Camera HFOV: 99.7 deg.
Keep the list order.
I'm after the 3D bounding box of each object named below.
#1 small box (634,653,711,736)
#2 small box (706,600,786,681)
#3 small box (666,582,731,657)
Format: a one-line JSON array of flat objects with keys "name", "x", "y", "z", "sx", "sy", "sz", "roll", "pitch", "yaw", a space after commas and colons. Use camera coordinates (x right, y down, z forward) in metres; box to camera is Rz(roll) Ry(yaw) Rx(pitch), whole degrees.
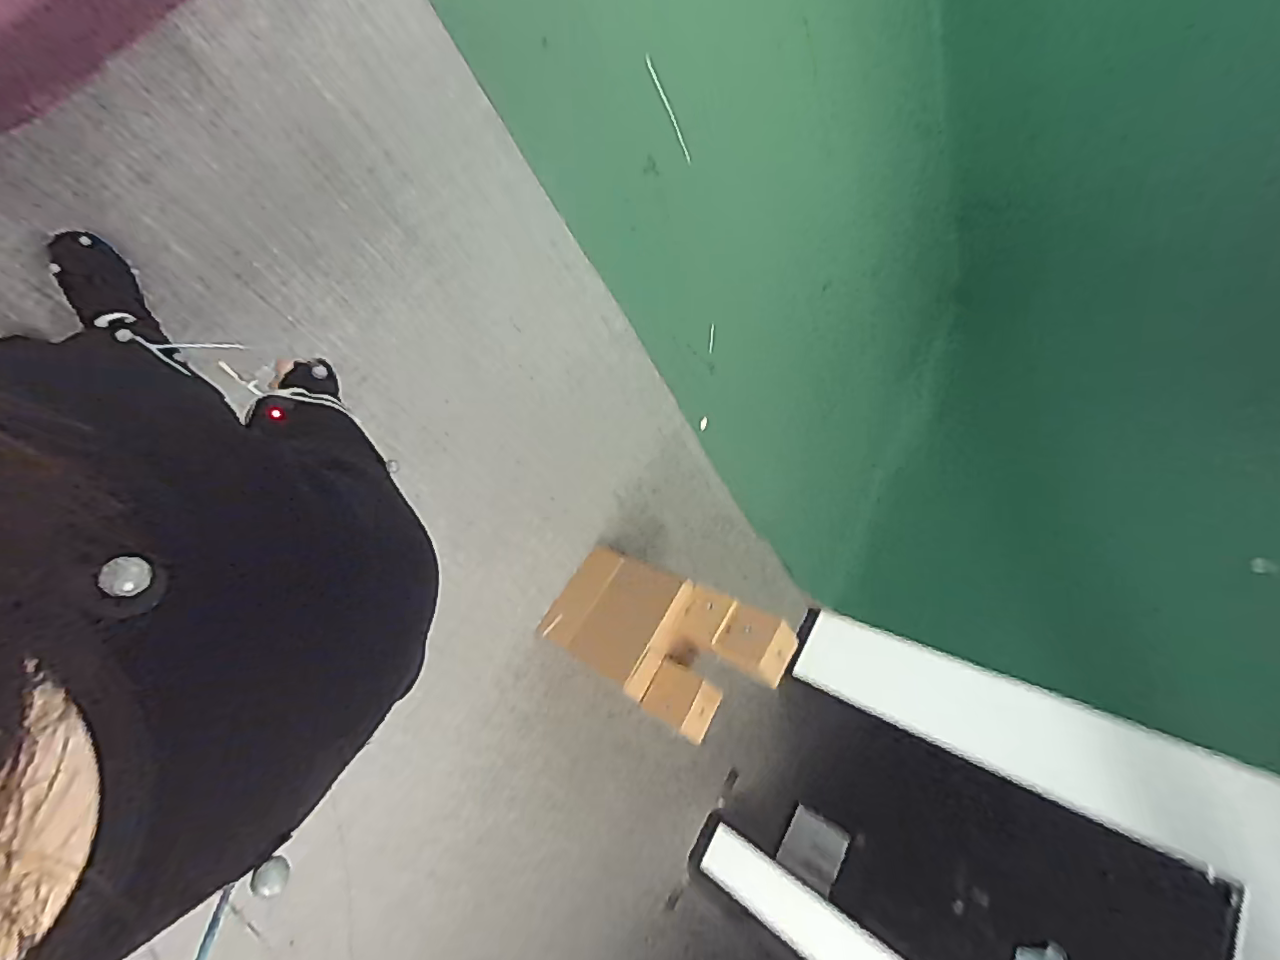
[{"name": "small box", "x": 0.102, "y": 0.706, "z": 1.789, "sx": 0.179, "sy": 0.176, "sz": 0.168, "roll": -58, "pitch": 137, "yaw": -20}, {"name": "small box", "x": 0.339, "y": 0.507, "z": 1.736, "sx": 0.168, "sy": 0.176, "sz": 0.179, "roll": -53, "pitch": 134, "yaw": -20}, {"name": "small box", "x": 0.215, "y": 0.466, "z": 1.837, "sx": 0.168, "sy": 0.176, "sz": 0.179, "roll": -55, "pitch": 135, "yaw": -19}]
